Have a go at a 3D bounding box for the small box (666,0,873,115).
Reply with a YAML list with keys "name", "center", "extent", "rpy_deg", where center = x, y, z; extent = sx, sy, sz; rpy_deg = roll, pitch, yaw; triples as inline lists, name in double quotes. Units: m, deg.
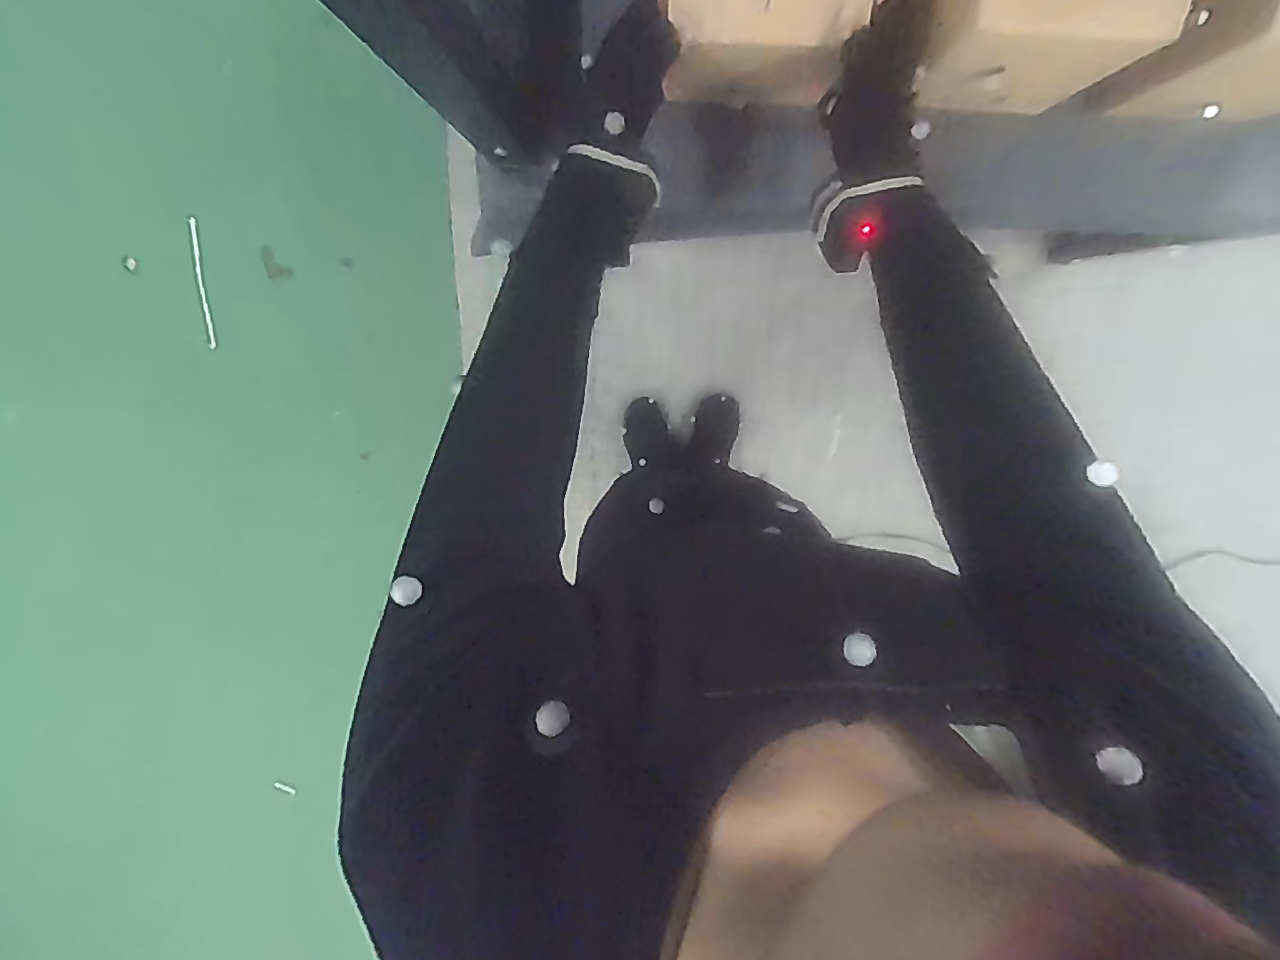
- name: "small box"
  center: [0.112, -0.464, 0.494]
  extent: [0.168, 0.176, 0.179]
  rpy_deg: [4, 111, 1]
